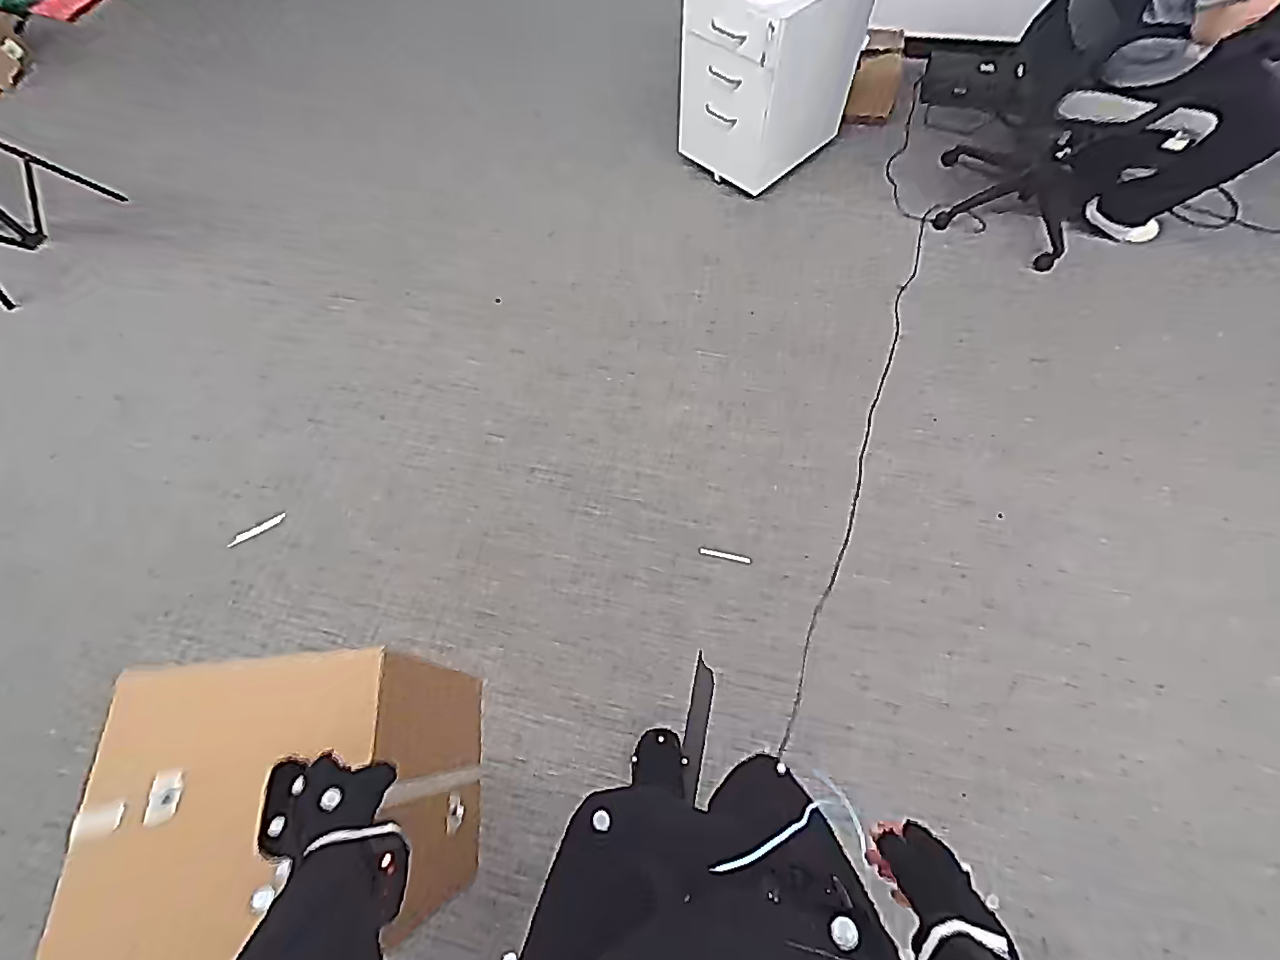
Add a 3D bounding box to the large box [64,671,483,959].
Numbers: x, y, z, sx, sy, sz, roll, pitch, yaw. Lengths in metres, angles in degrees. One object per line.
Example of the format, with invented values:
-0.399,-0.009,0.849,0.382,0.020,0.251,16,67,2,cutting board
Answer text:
-0.431,0.465,0.747,0.320,0.408,0.320,-7,64,-2,large box
